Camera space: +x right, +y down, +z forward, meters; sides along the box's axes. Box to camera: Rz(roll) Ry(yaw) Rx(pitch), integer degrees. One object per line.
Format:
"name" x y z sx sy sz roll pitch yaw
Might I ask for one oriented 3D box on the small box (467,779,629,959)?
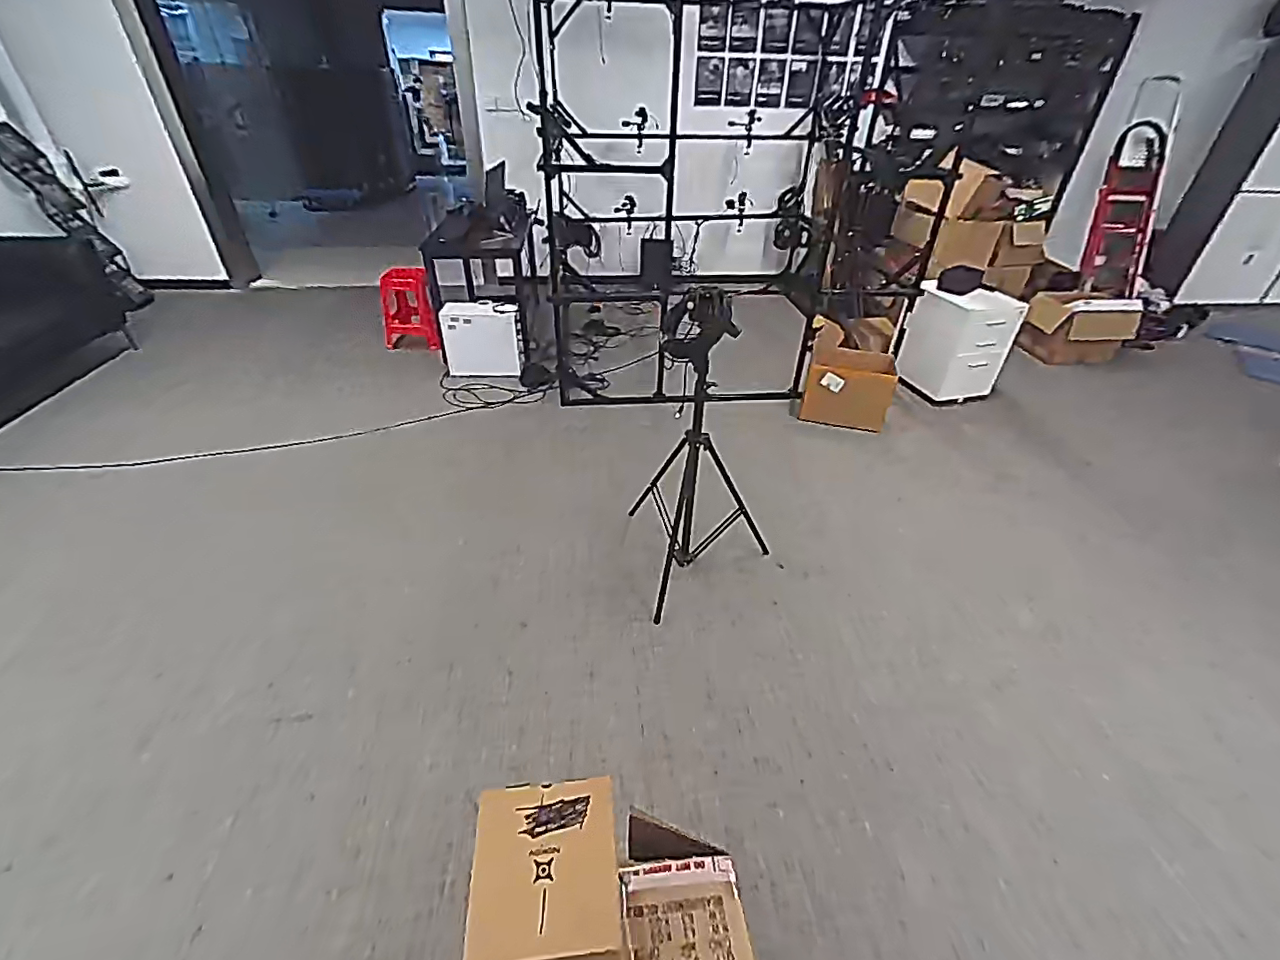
"small box" -0.103 0.502 0.665 0.168 0.176 0.179 -4 39 -4
